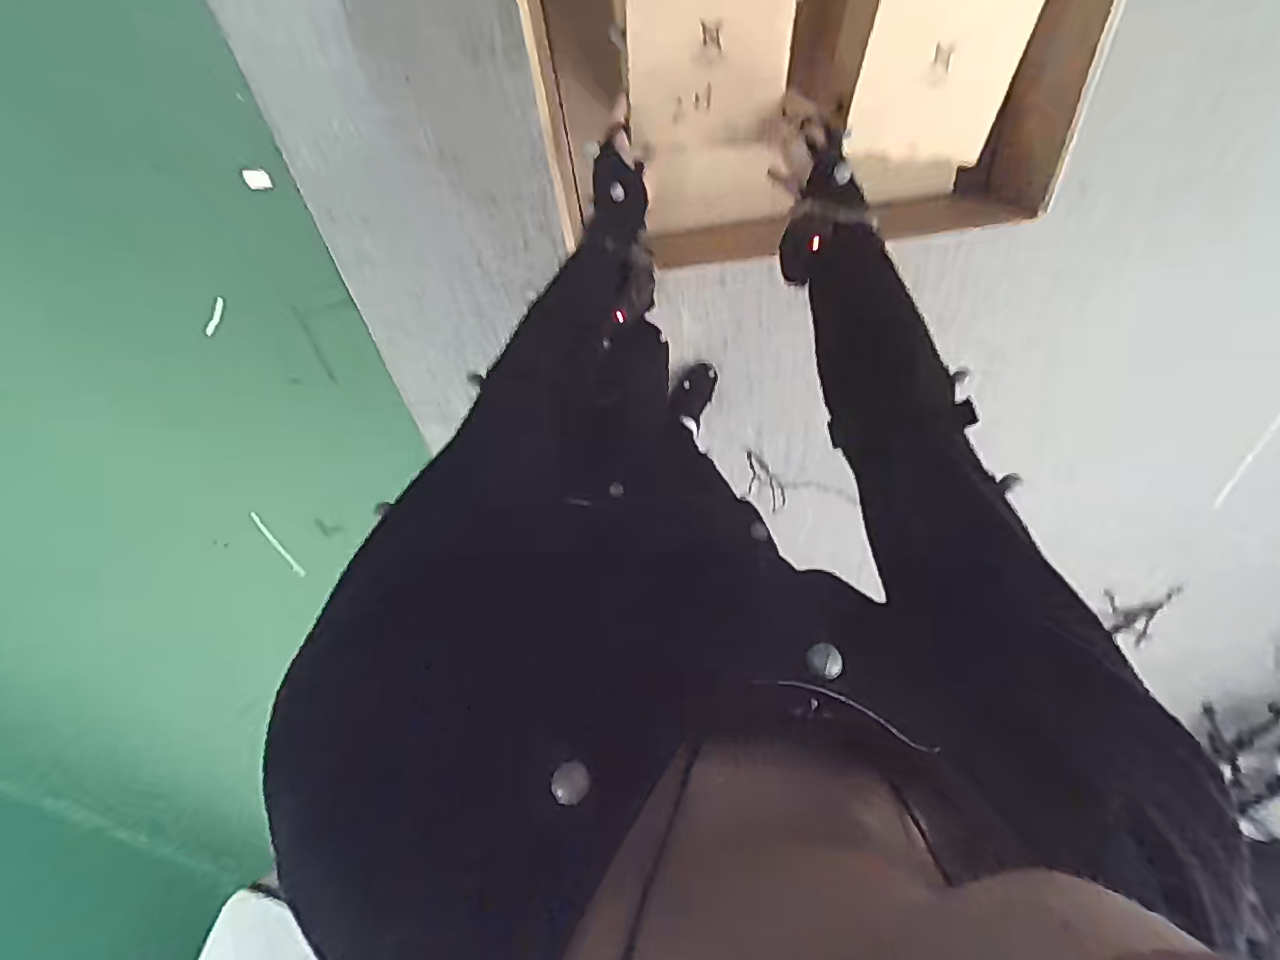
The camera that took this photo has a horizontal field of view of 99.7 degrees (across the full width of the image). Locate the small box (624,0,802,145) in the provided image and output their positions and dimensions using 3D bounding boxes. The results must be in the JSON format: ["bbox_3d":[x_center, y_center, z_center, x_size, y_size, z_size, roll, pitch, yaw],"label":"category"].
[{"bbox_3d":[0.068,-0.484,0.593,0.168,0.176,0.179,-3,131,-2],"label":"small box"}]
